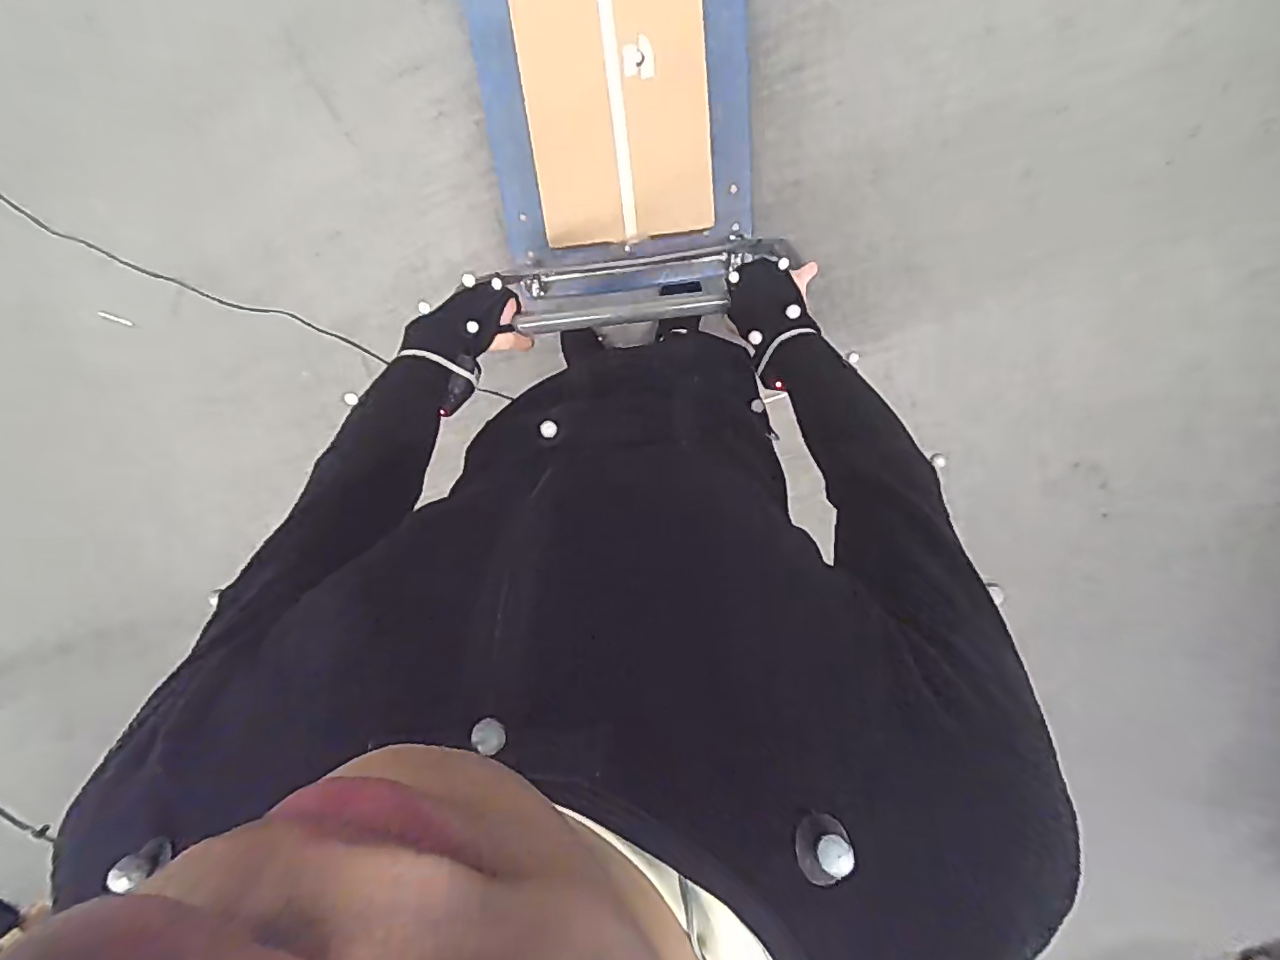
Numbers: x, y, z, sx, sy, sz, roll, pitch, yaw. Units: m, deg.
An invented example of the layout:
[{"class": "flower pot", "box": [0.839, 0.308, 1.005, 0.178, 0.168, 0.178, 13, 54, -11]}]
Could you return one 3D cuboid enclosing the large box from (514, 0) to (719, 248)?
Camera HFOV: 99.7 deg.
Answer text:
[{"class": "large box", "box": [-0.024, -0.693, 1.063, 0.320, 0.320, 0.408, -5, 112, 4]}]
